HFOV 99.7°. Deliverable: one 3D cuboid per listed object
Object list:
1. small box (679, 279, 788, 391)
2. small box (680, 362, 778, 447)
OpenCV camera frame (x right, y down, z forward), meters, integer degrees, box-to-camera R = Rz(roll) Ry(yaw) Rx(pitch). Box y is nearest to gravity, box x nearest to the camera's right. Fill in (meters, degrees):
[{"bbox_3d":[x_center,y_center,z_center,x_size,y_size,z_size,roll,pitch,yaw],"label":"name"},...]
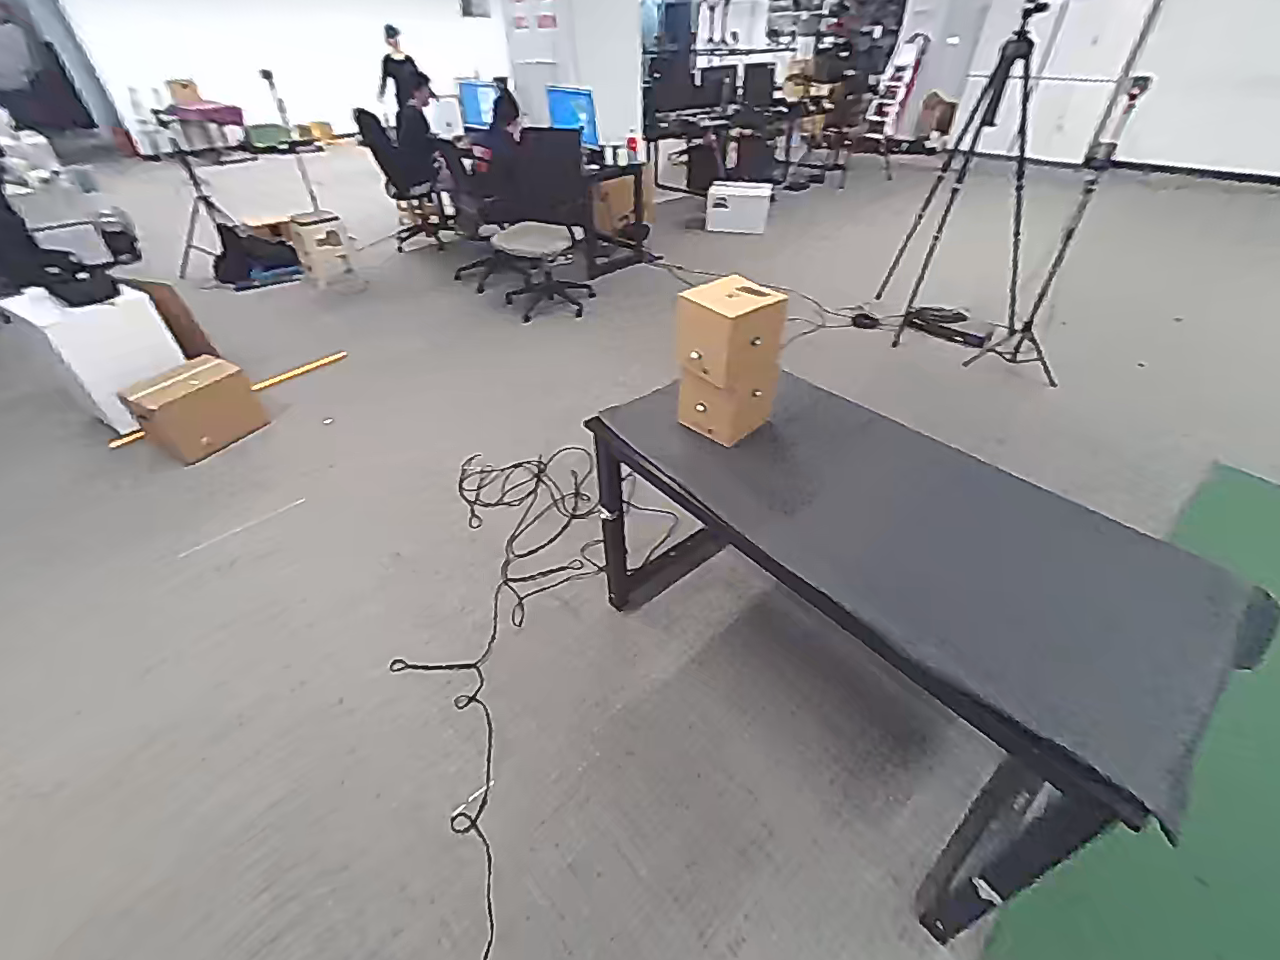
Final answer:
[{"bbox_3d":[0.200,-0.326,1.210,0.179,0.176,0.168,-27,47,-27],"label":"small box"},{"bbox_3d":[0.212,-0.207,1.323,0.168,0.176,0.179,33,49,32],"label":"small box"}]
